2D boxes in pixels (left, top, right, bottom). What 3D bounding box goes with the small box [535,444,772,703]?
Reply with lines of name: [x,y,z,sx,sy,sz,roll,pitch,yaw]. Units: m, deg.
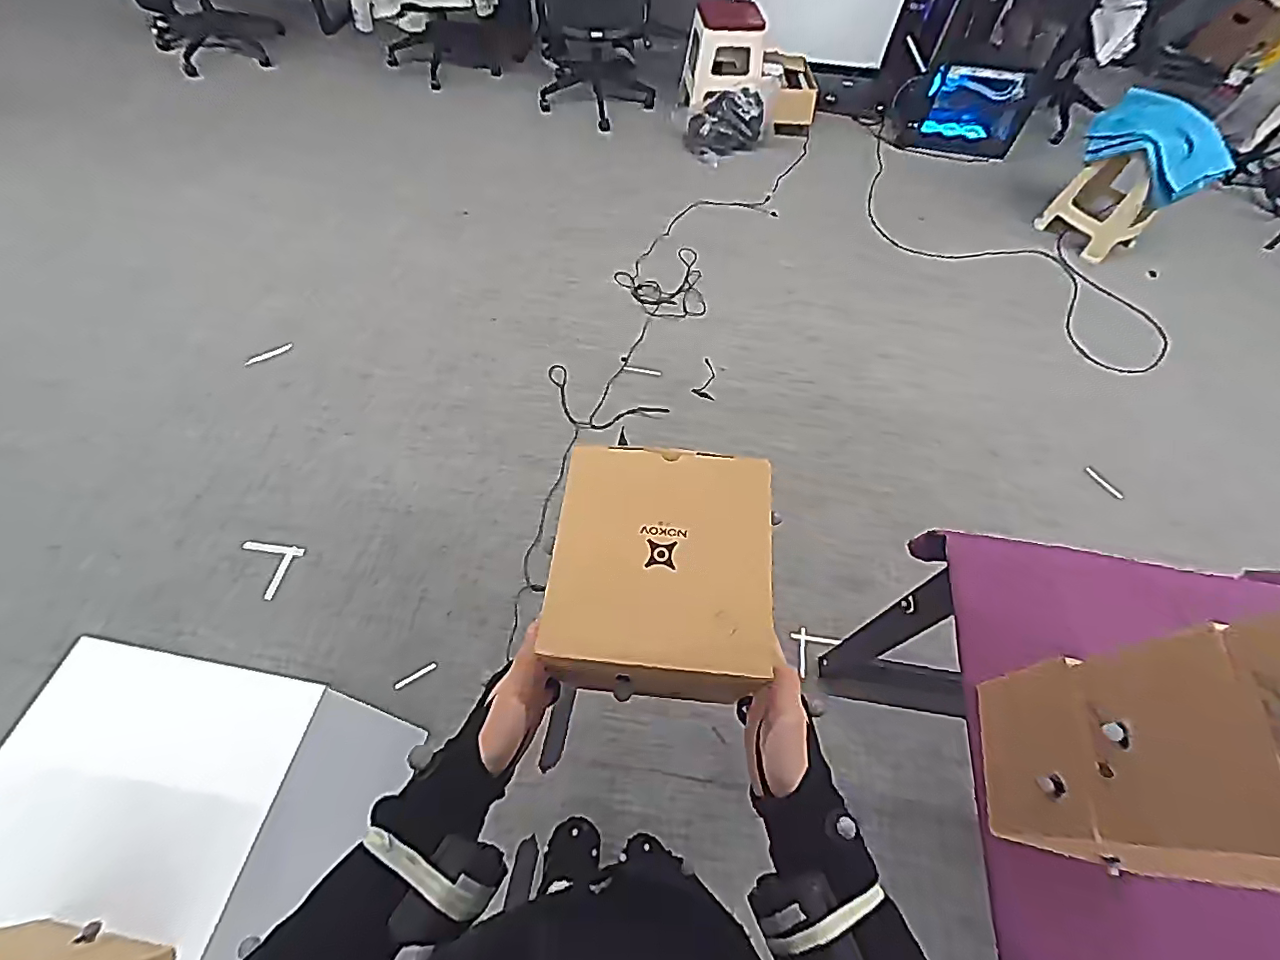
small box: [0.018,0.089,0.474,0.168,0.176,0.179,4,60,3]

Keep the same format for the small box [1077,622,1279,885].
small box: [0.533,0.241,0.460,0.179,0.176,0.168,12,59,5]

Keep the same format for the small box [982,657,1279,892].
small box: [0.516,0.322,0.603,0.168,0.176,0.179,13,58,4]

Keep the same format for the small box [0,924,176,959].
small box: [-0.645,0.574,0.543,0.179,0.176,0.168,9,58,4]
